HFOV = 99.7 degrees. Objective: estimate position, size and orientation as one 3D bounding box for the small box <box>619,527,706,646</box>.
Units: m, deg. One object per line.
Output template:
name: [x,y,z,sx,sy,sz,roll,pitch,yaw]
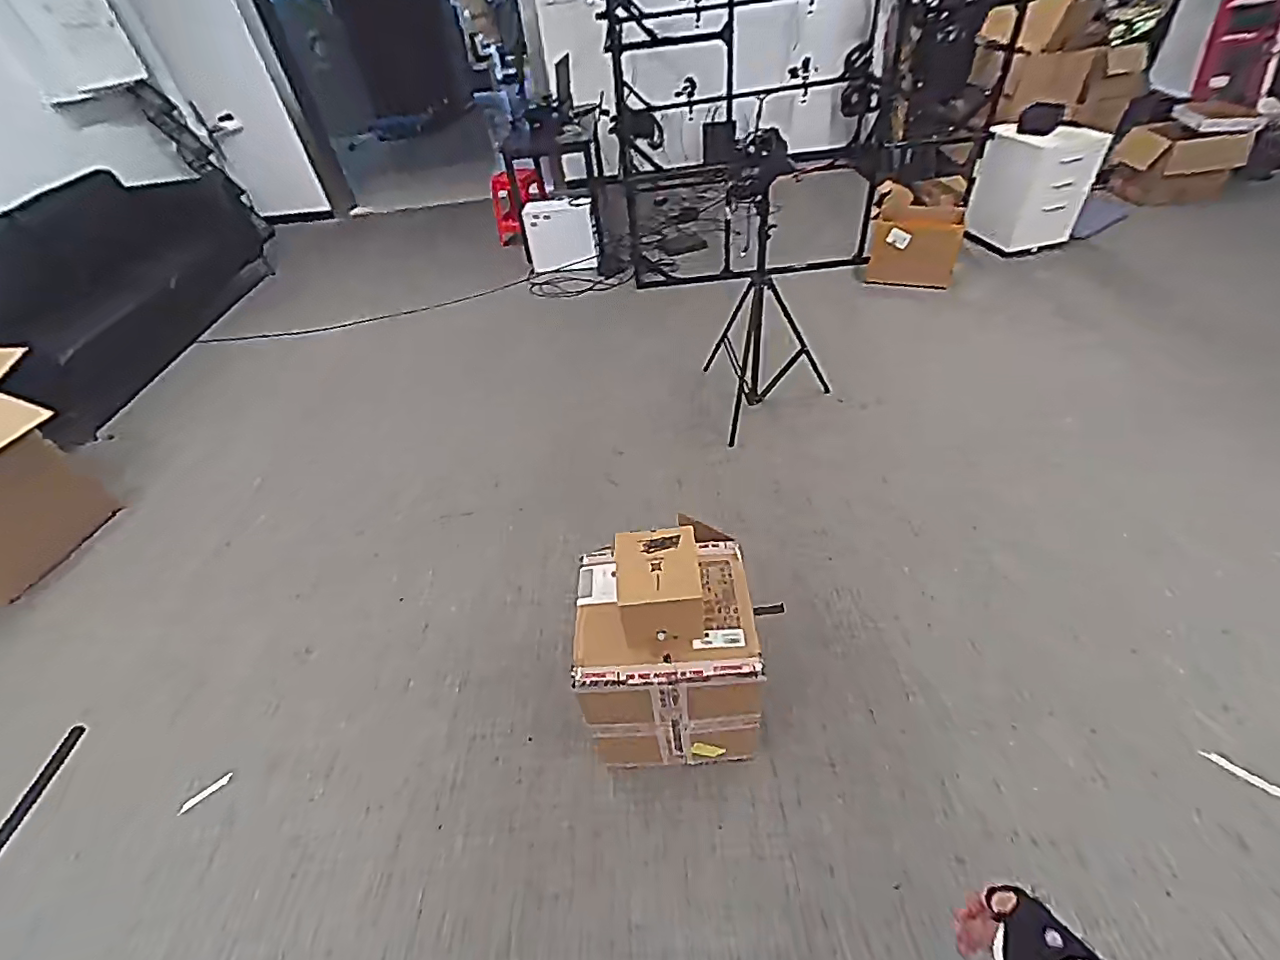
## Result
small box: [0.046,0.223,1.126,0.168,0.176,0.179,-6,47,3]
